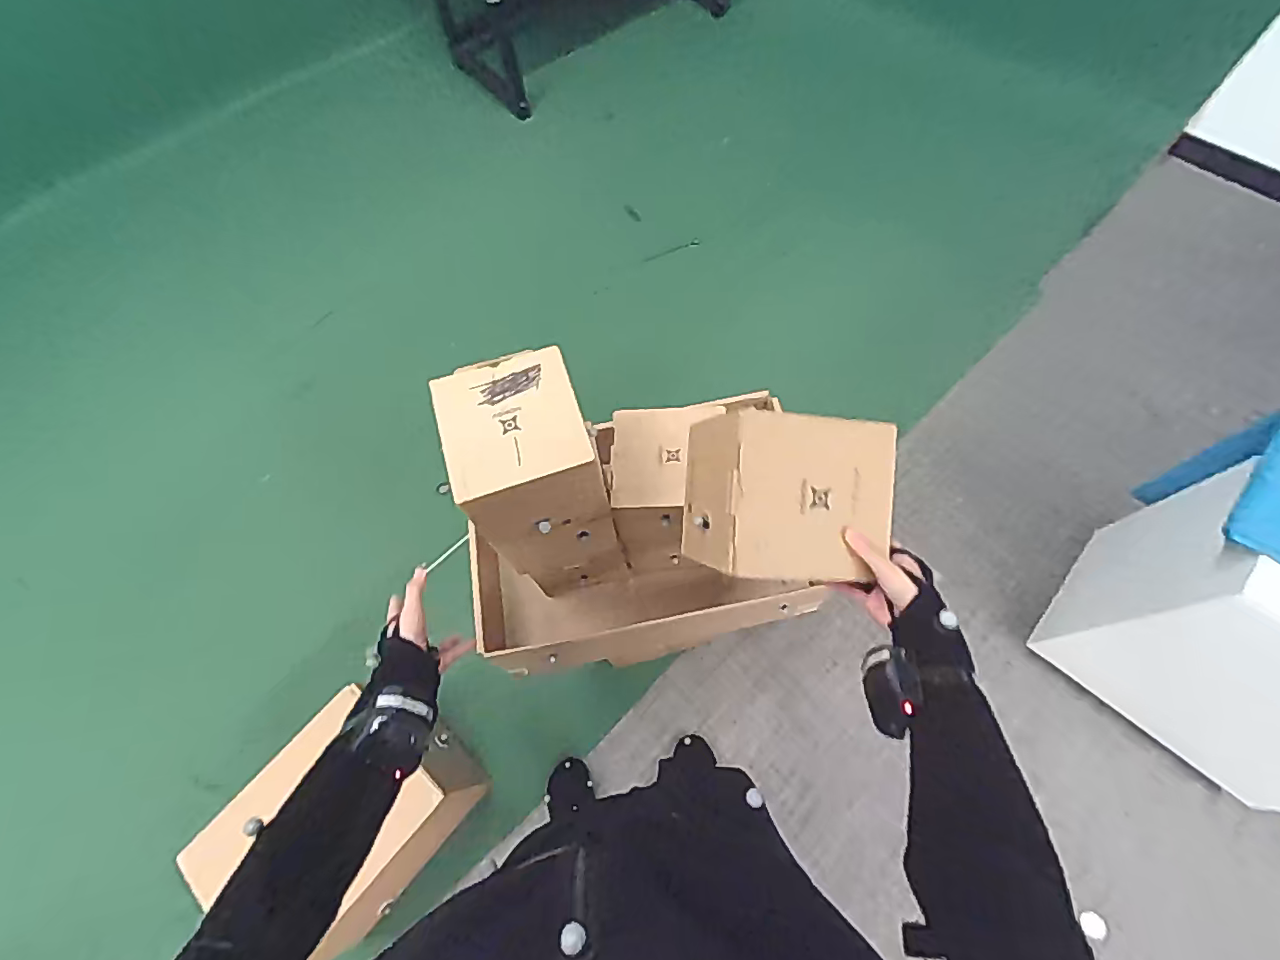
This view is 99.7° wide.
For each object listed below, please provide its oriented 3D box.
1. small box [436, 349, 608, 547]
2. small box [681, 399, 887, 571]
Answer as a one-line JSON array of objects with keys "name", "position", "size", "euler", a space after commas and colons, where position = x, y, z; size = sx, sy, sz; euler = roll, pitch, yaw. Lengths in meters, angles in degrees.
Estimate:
[{"name": "small box", "position": [-0.148, -0.036, 0.713], "size": [0.168, 0.176, 0.179], "euler": [-18, 65, -5]}, {"name": "small box", "position": [0.153, 0.010, 0.624], "size": [0.179, 0.176, 0.168], "euler": [4, 88, -12]}]
